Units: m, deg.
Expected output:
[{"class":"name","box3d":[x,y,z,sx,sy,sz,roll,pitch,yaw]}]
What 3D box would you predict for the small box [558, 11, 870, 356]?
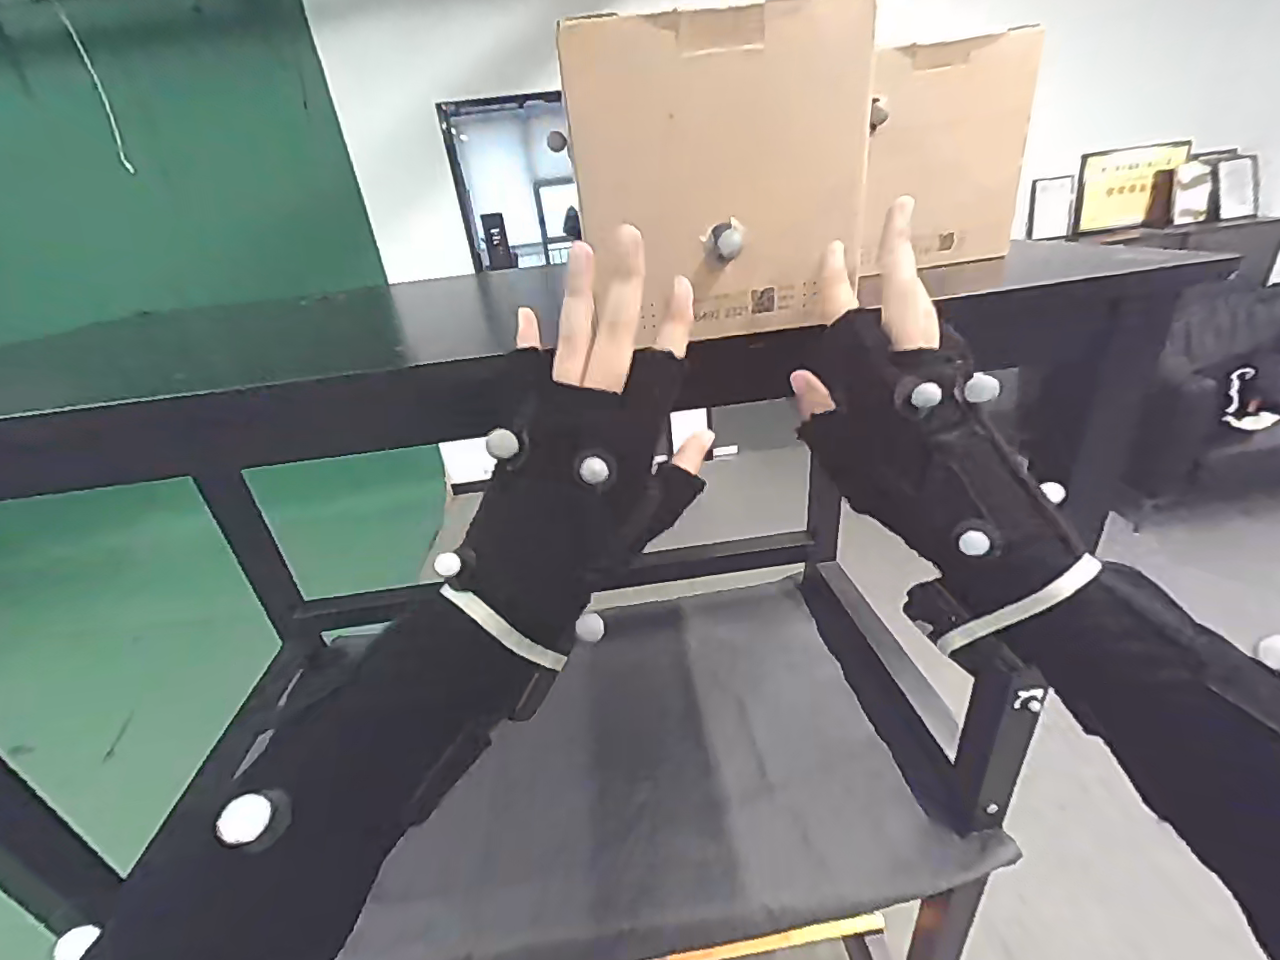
[{"class":"small box","box3d":[0.040,-0.196,0.387,0.168,0.176,0.179,-9,28,-2]}]
